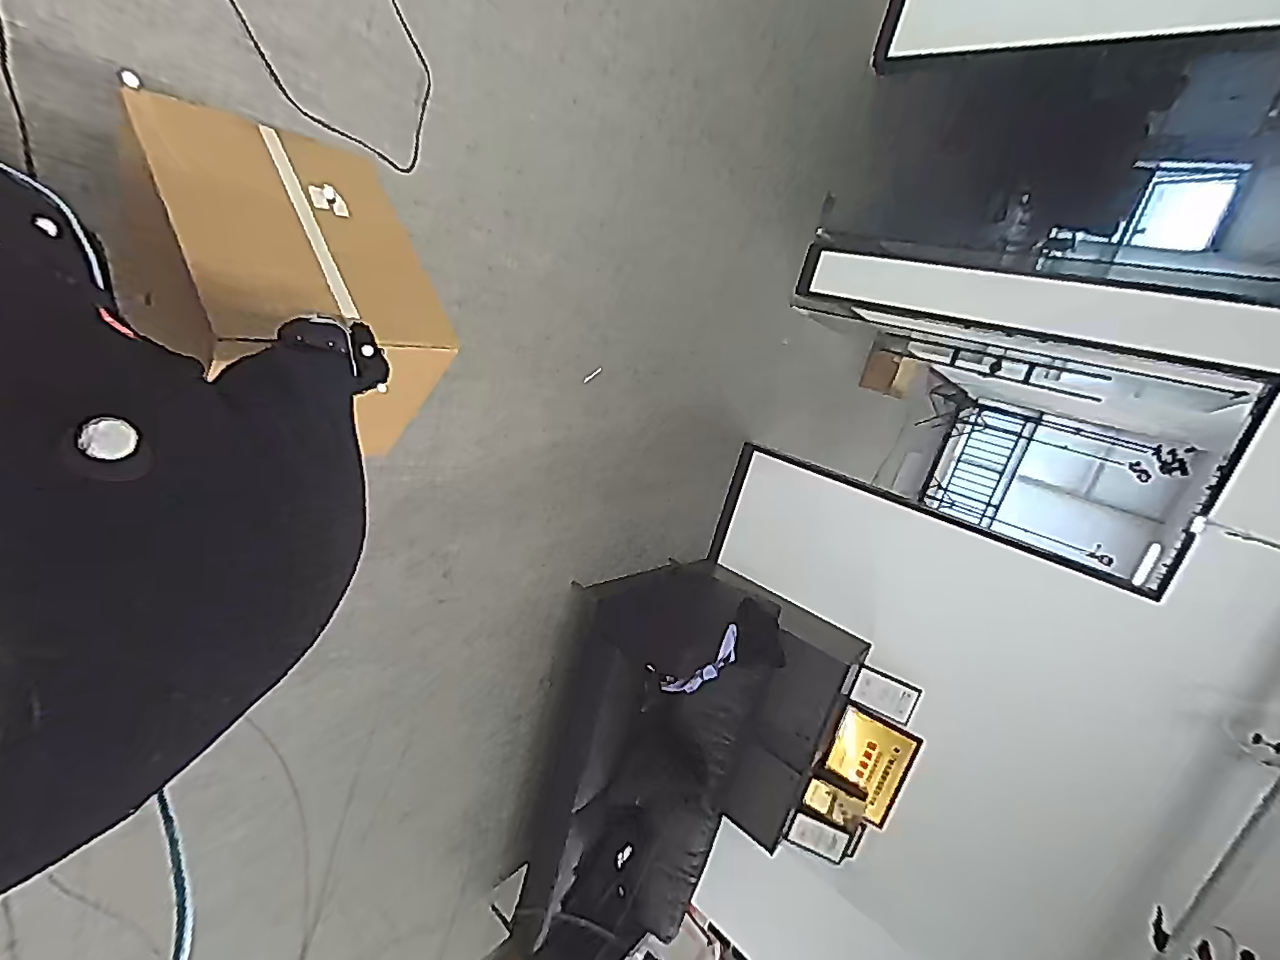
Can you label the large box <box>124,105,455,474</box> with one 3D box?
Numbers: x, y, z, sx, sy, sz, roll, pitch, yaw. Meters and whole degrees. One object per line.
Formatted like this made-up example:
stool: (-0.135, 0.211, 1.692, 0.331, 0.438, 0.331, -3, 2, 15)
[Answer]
large box: (-0.569, -0.272, 0.868, 0.320, 0.408, 0.320, -39, 164, 37)
